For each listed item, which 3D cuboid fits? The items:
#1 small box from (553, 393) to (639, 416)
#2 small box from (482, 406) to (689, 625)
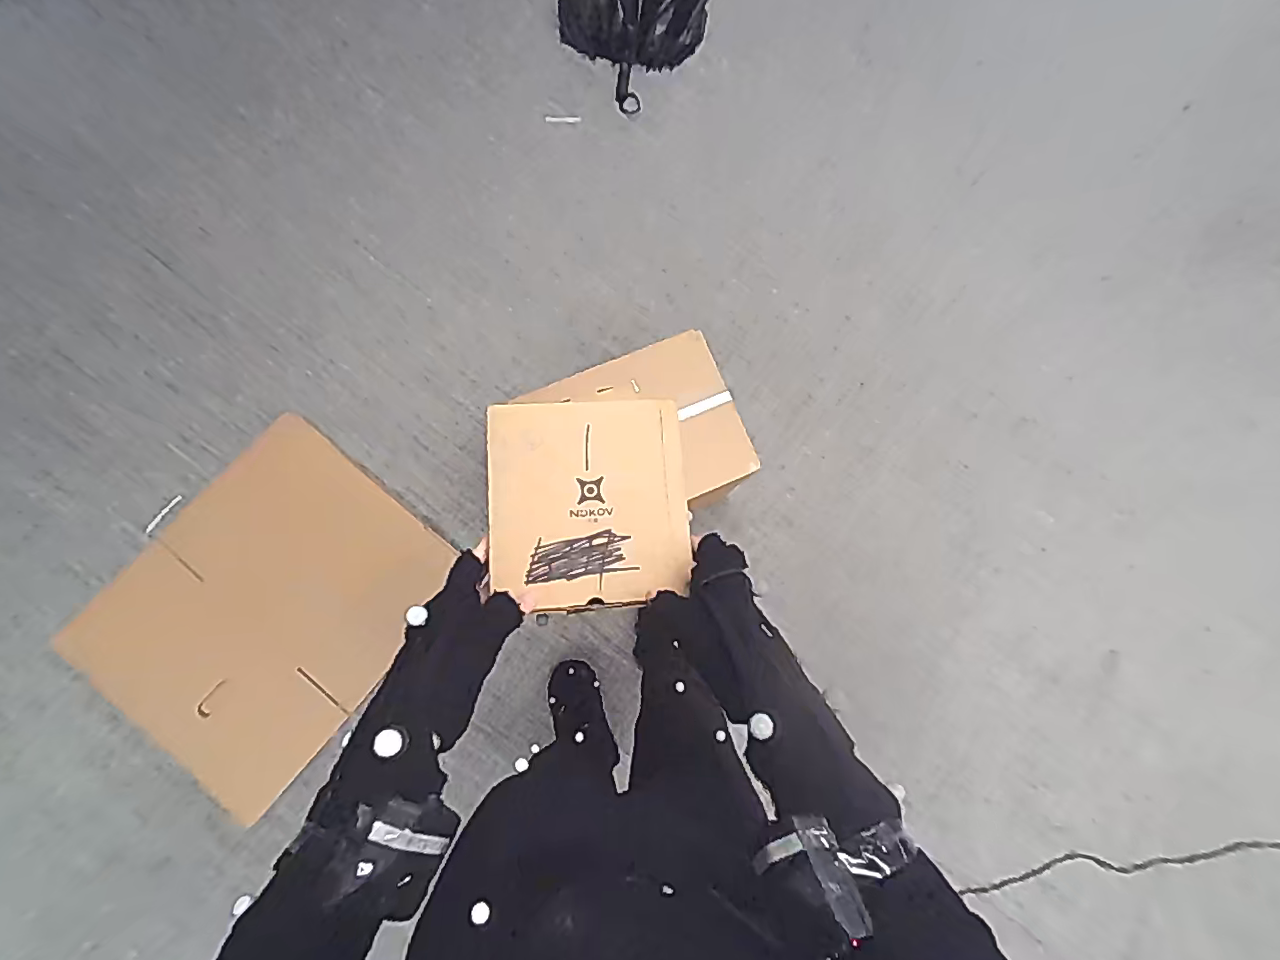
[{"bbox_3d":[-0.065,-0.024,0.930,0.168,0.176,0.179,-19,82,-5],"label":"small box"},{"bbox_3d":[-0.054,0.041,0.540,0.168,0.176,0.179,-6,79,-7],"label":"small box"}]
